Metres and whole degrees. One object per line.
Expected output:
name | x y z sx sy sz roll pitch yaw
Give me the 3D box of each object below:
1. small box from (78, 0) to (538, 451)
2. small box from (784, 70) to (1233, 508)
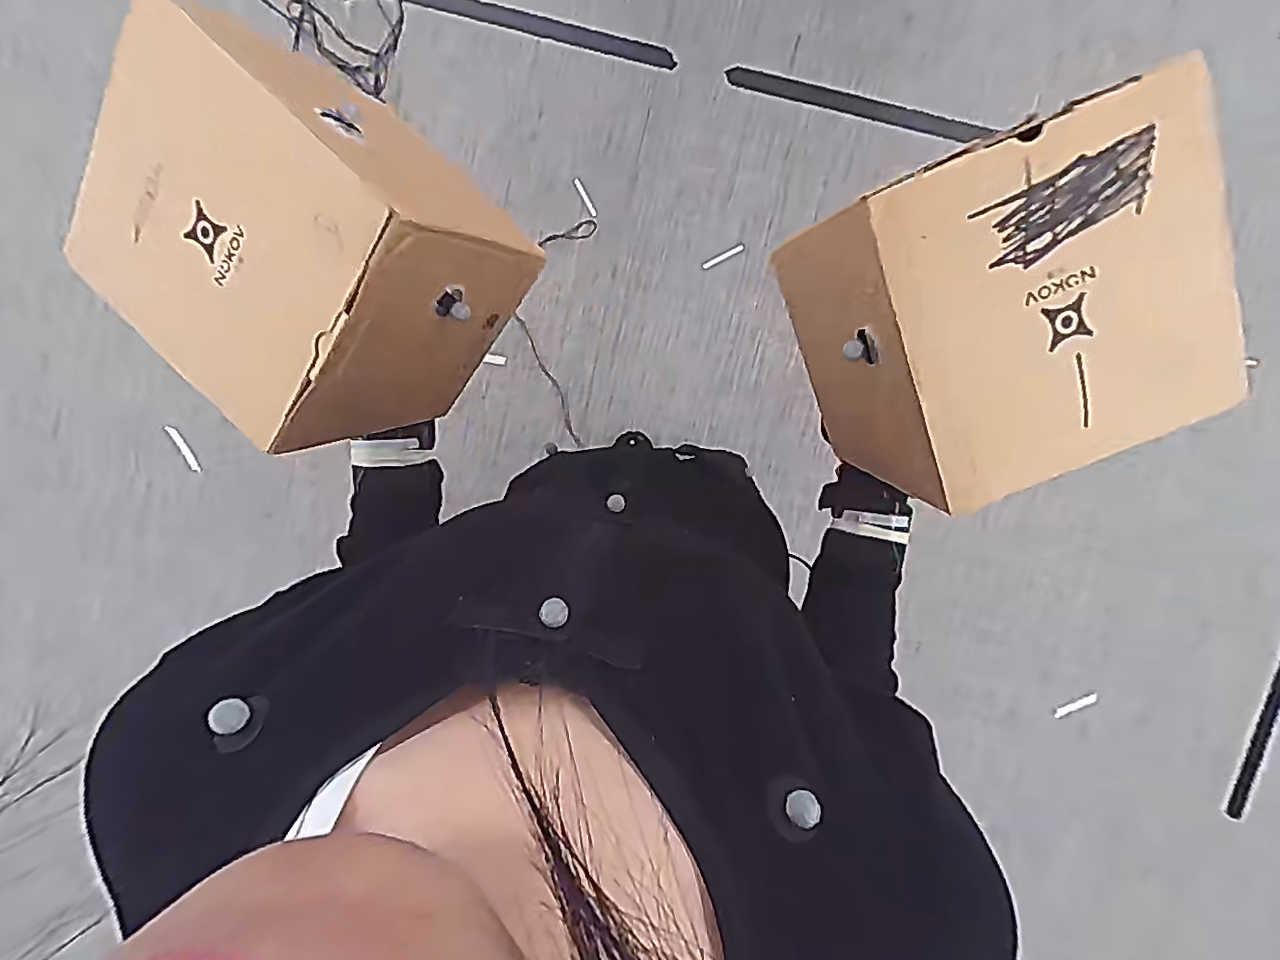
small box | -0.201 -0.149 0.365 0.179 0.176 0.168 42 111 3
small box | 0.212 -0.108 0.354 0.168 0.176 0.179 -21 105 4
